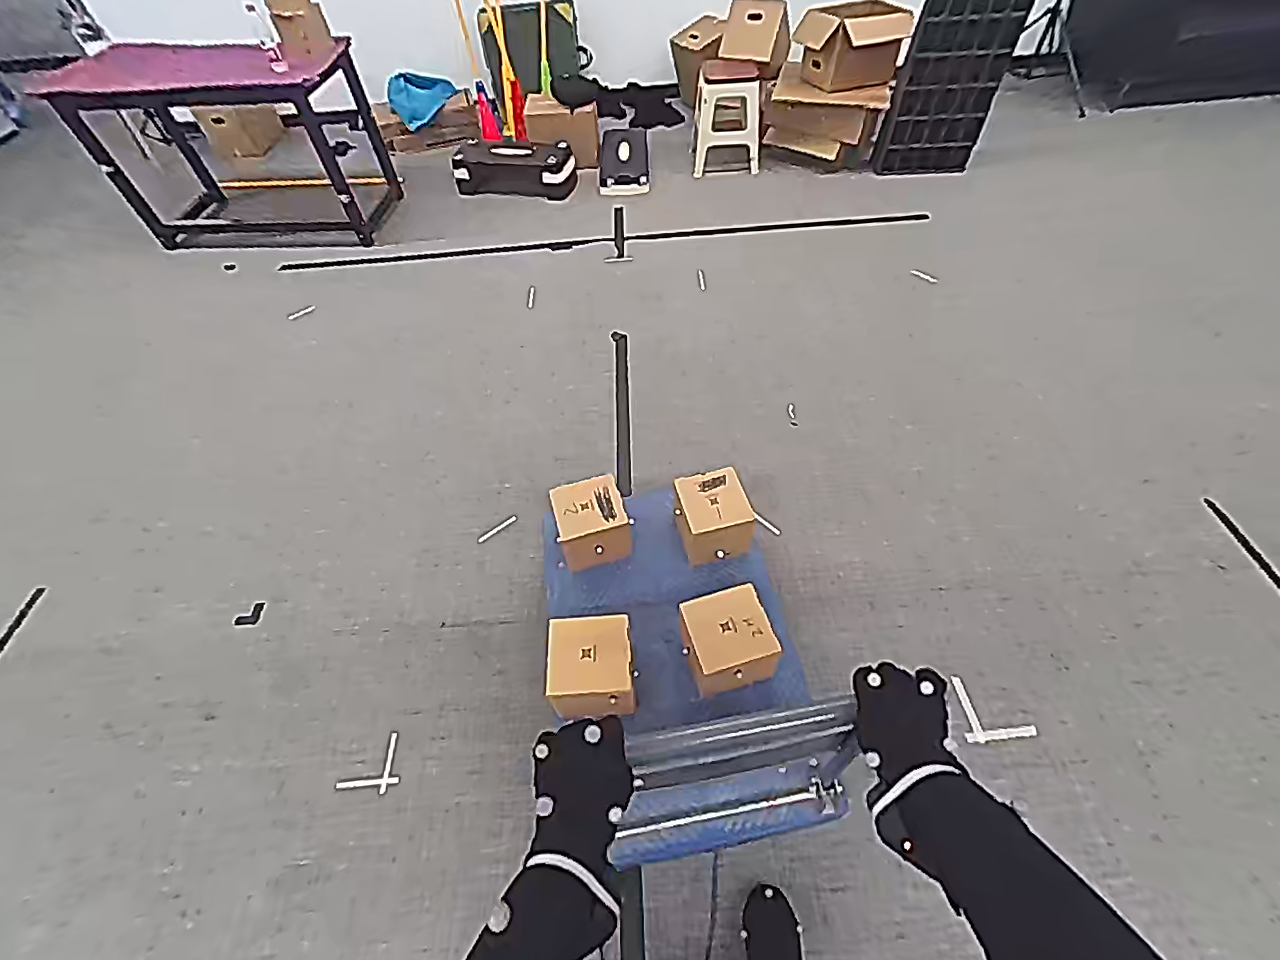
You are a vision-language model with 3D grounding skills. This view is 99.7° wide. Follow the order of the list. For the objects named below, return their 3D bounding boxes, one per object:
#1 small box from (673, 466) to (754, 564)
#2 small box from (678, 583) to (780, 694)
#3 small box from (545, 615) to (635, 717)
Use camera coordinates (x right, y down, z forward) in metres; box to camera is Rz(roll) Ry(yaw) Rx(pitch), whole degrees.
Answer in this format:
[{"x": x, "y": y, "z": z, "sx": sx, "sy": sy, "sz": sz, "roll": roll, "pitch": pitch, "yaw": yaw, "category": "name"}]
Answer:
[{"x": 0.186, "y": 0.095, "z": 1.426, "sx": 0.168, "sy": 0.176, "sz": 0.179, "roll": -13, "pitch": 54, "yaw": -6, "category": "small box"}, {"x": 0.194, "y": 0.362, "z": 1.220, "sx": 0.179, "sy": 0.176, "sz": 0.168, "roll": -15, "pitch": 53, "yaw": -7, "category": "small box"}, {"x": -0.106, "y": 0.416, "z": 1.201, "sx": 0.179, "sy": 0.176, "sz": 0.168, "roll": -4, "pitch": 52, "yaw": -1, "category": "small box"}]
